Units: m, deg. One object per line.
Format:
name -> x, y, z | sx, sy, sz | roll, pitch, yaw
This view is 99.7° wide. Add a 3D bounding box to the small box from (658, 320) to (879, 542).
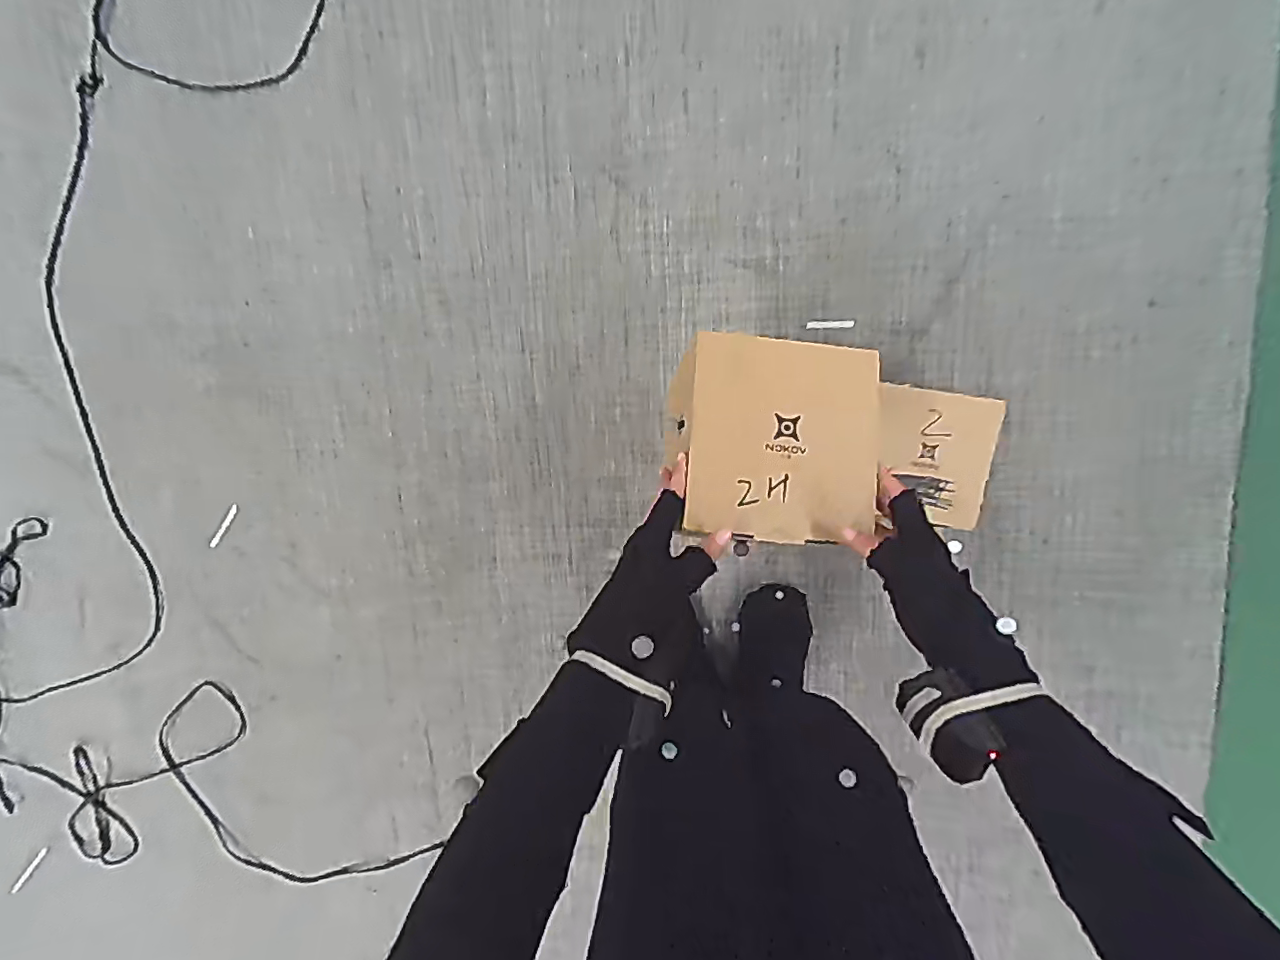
small box -> 0.112, -0.034, 0.532 | 0.168, 0.176, 0.179 | 5, 84, -4
